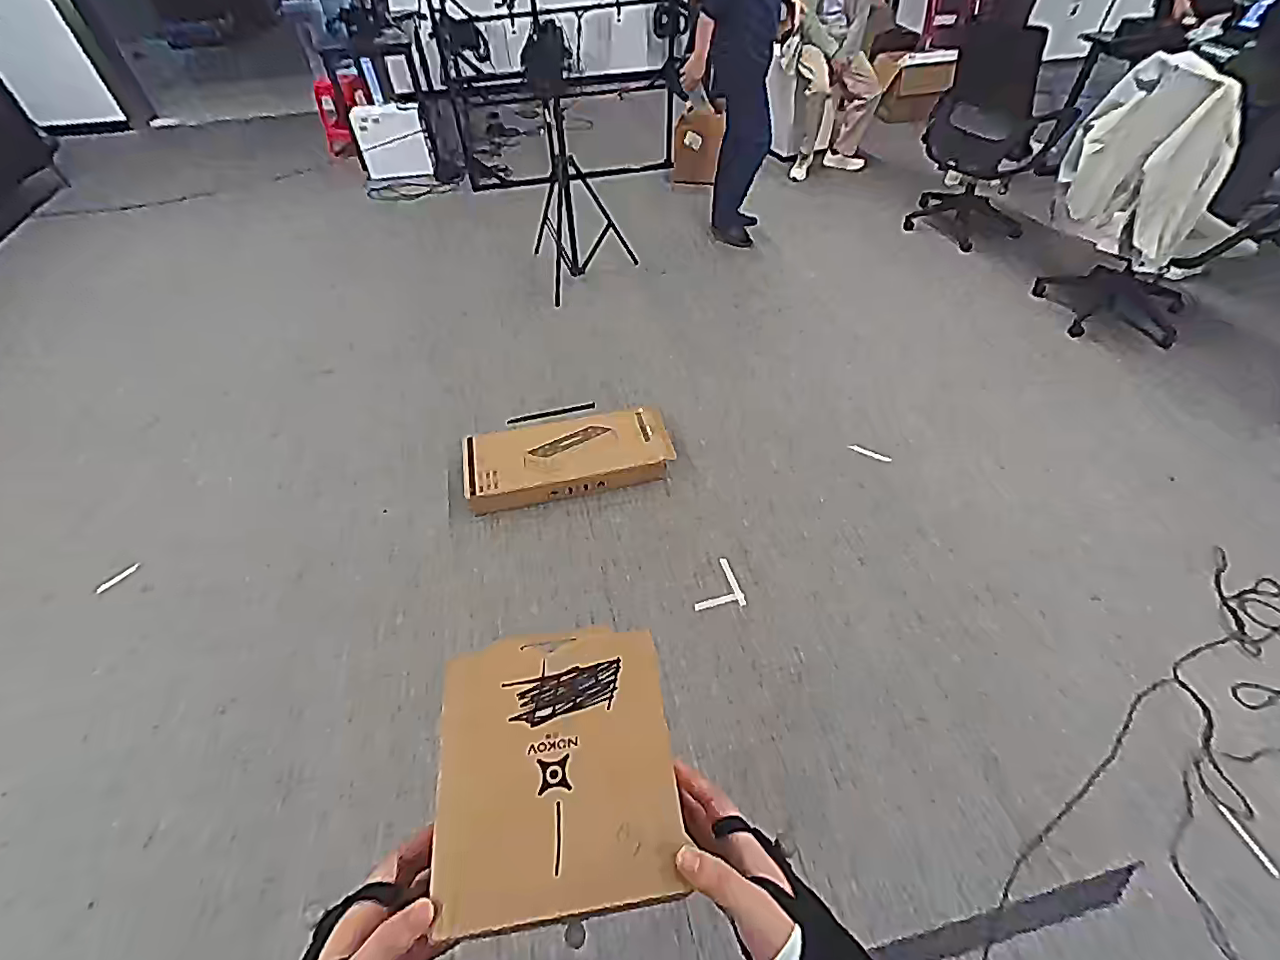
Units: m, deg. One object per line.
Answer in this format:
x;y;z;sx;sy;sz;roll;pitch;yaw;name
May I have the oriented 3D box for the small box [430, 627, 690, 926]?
-0.059;0.248;0.451;0.168;0.176;0.179;-8;52;-4;small box
